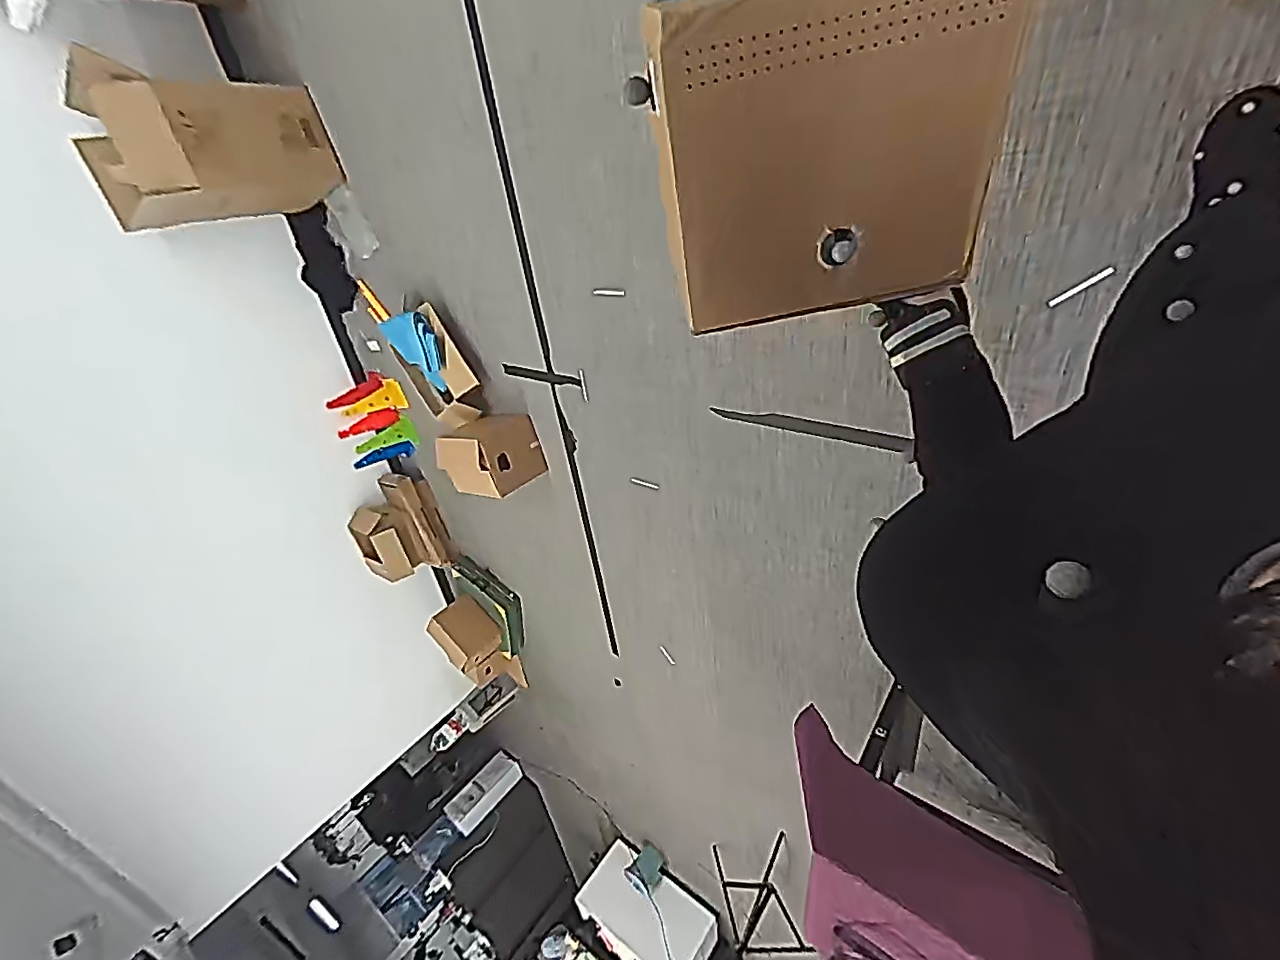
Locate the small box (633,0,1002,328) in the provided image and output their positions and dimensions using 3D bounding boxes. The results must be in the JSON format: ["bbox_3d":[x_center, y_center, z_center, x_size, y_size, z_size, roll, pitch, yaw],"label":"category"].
[{"bbox_3d":[0.098,-0.227,0.353,0.179,0.168,0.176,-8,131,6],"label":"small box"}]
